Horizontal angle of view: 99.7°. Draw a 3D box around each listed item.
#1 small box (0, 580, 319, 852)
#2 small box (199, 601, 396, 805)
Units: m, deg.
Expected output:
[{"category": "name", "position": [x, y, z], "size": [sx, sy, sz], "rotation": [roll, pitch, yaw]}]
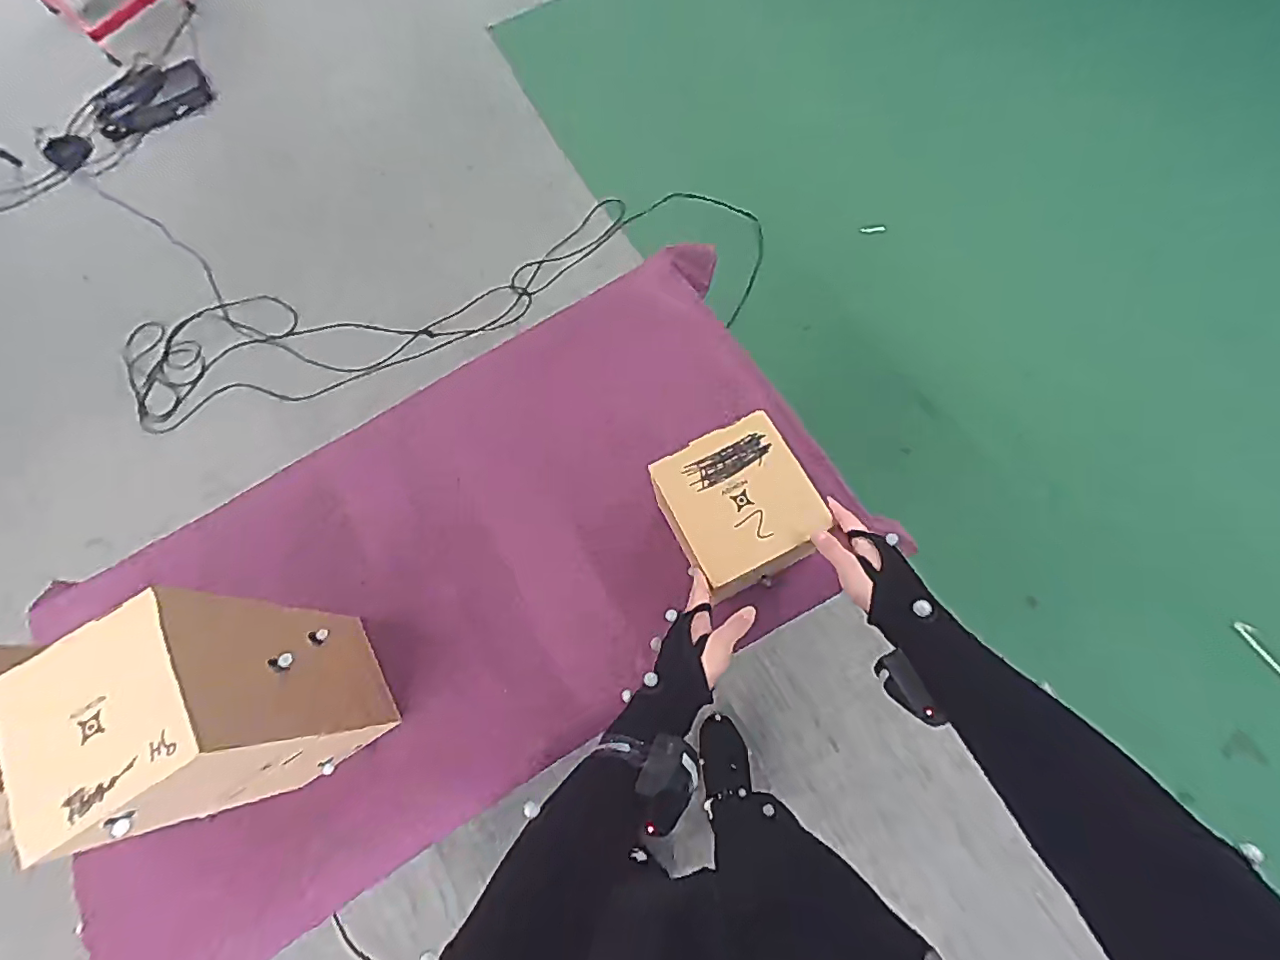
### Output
[{"category": "small box", "position": [-0.481, 0.231, 0.561], "size": [0.168, 0.176, 0.179], "rotation": [-32, 70, -4]}, {"category": "small box", "position": [-0.462, 0.284, 0.716], "size": [0.168, 0.176, 0.179], "rotation": [-32, 72, -4]}]
